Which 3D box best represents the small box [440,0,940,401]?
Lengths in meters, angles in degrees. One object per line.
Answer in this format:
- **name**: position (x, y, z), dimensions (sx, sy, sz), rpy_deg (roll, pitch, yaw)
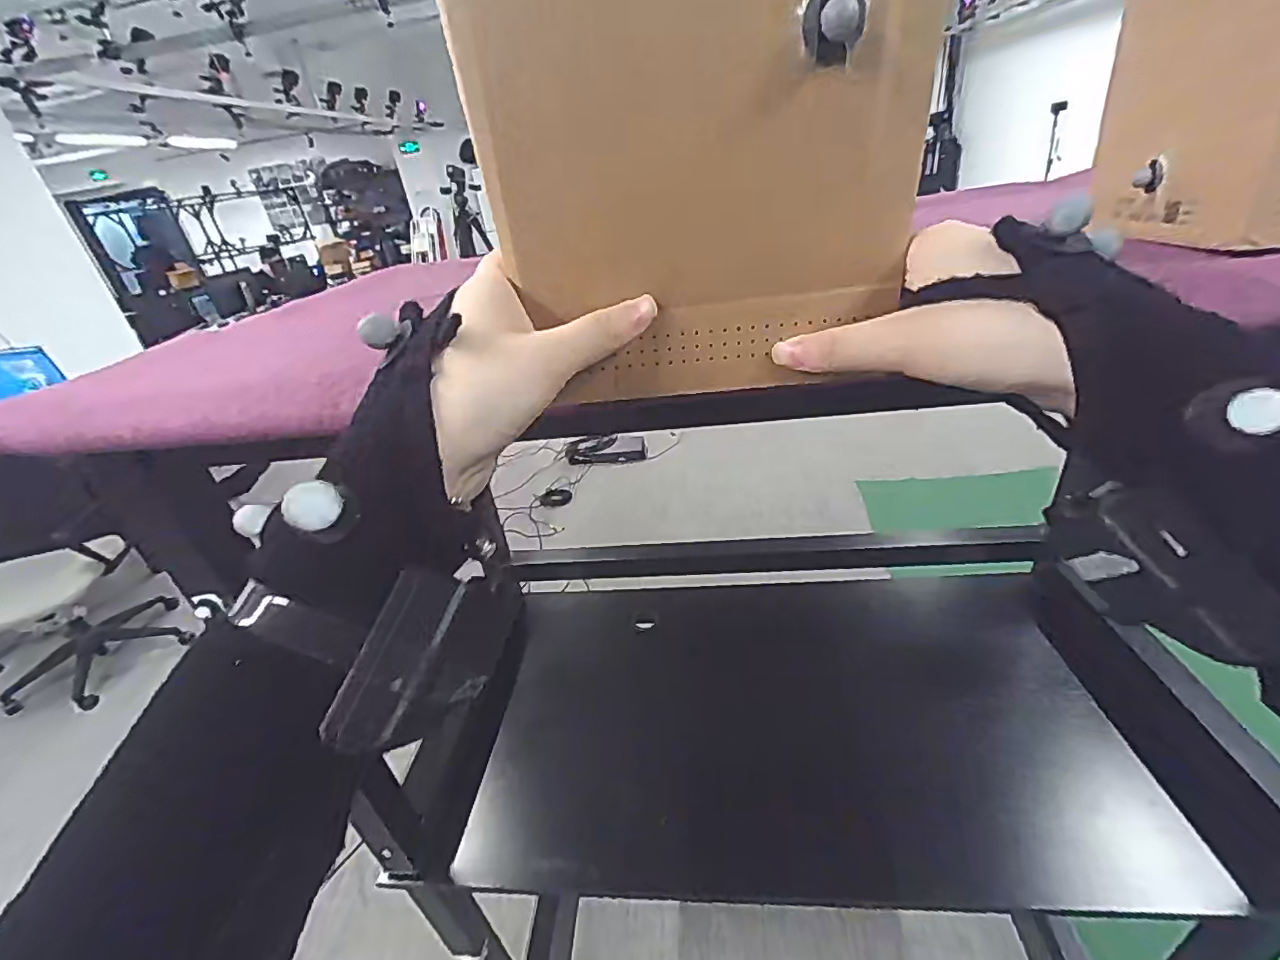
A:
- **small box**: position (0.025, -0.149, 0.277), dimensions (0.179, 0.176, 0.168), rpy_deg (-4, 34, 2)
